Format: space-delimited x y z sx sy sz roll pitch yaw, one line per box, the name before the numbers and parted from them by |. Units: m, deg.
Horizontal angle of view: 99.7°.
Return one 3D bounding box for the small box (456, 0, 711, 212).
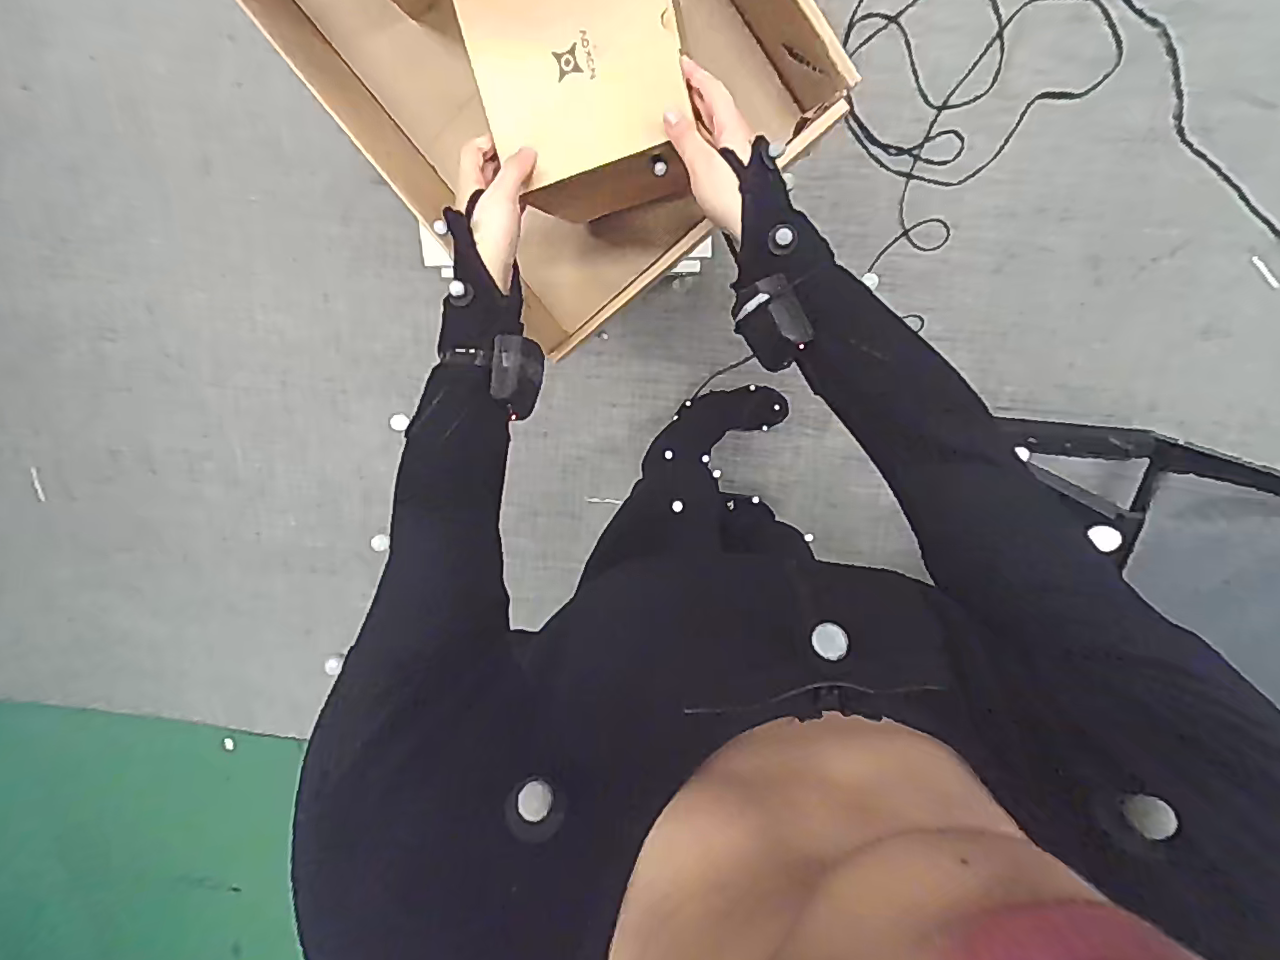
small box | -0.039 -0.378 0.519 0.179 0.176 0.168 -11 104 16
